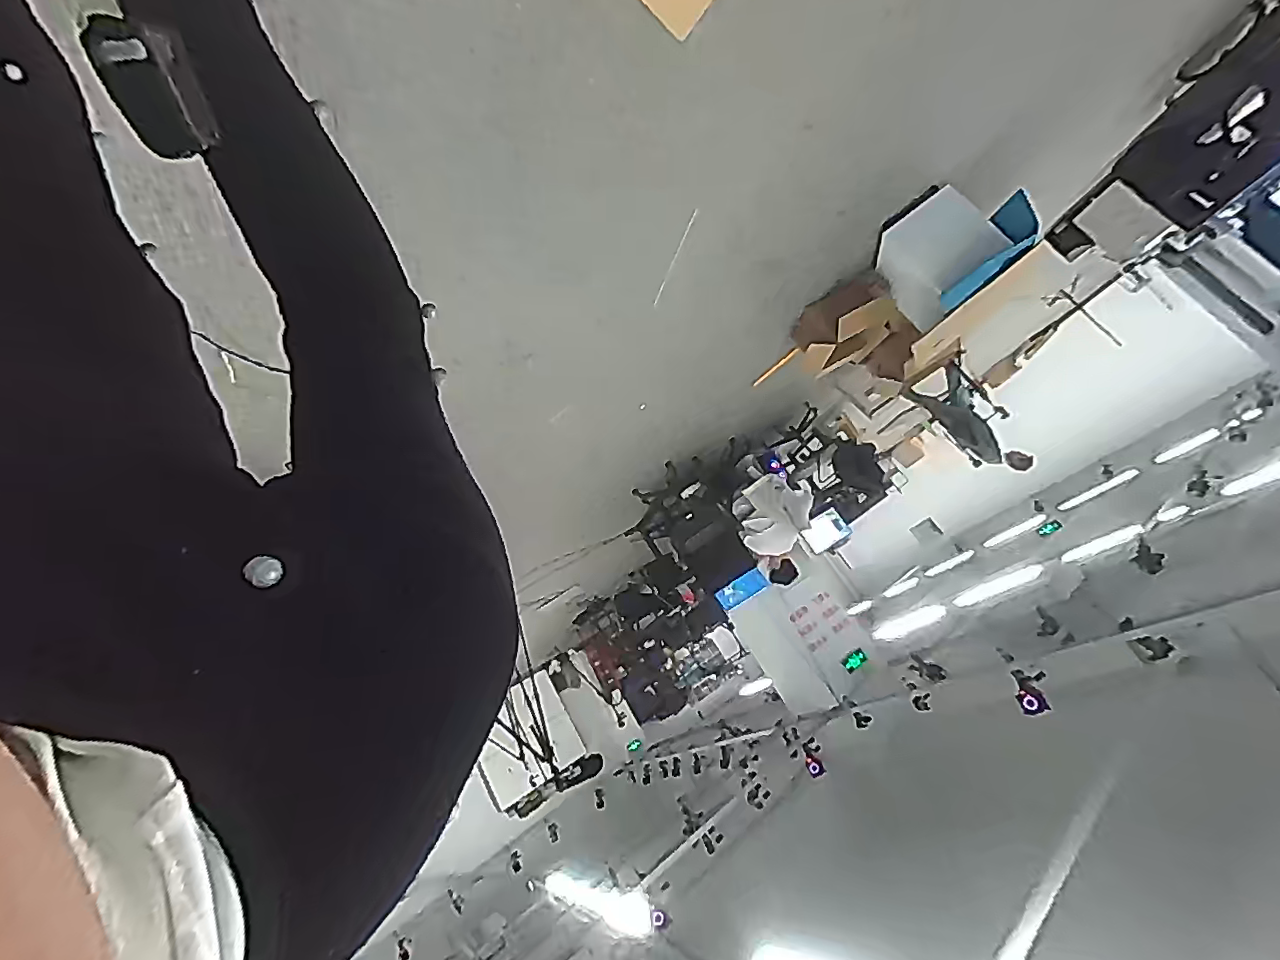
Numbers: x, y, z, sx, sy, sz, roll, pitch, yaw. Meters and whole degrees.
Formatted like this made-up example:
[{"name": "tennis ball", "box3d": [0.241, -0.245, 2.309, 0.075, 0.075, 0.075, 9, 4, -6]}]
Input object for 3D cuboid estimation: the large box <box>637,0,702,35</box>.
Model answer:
[{"name": "large box", "box3d": [-0.024, -1.057, 0.864, 0.320, 0.320, 0.408, -44, 160, 31]}]
